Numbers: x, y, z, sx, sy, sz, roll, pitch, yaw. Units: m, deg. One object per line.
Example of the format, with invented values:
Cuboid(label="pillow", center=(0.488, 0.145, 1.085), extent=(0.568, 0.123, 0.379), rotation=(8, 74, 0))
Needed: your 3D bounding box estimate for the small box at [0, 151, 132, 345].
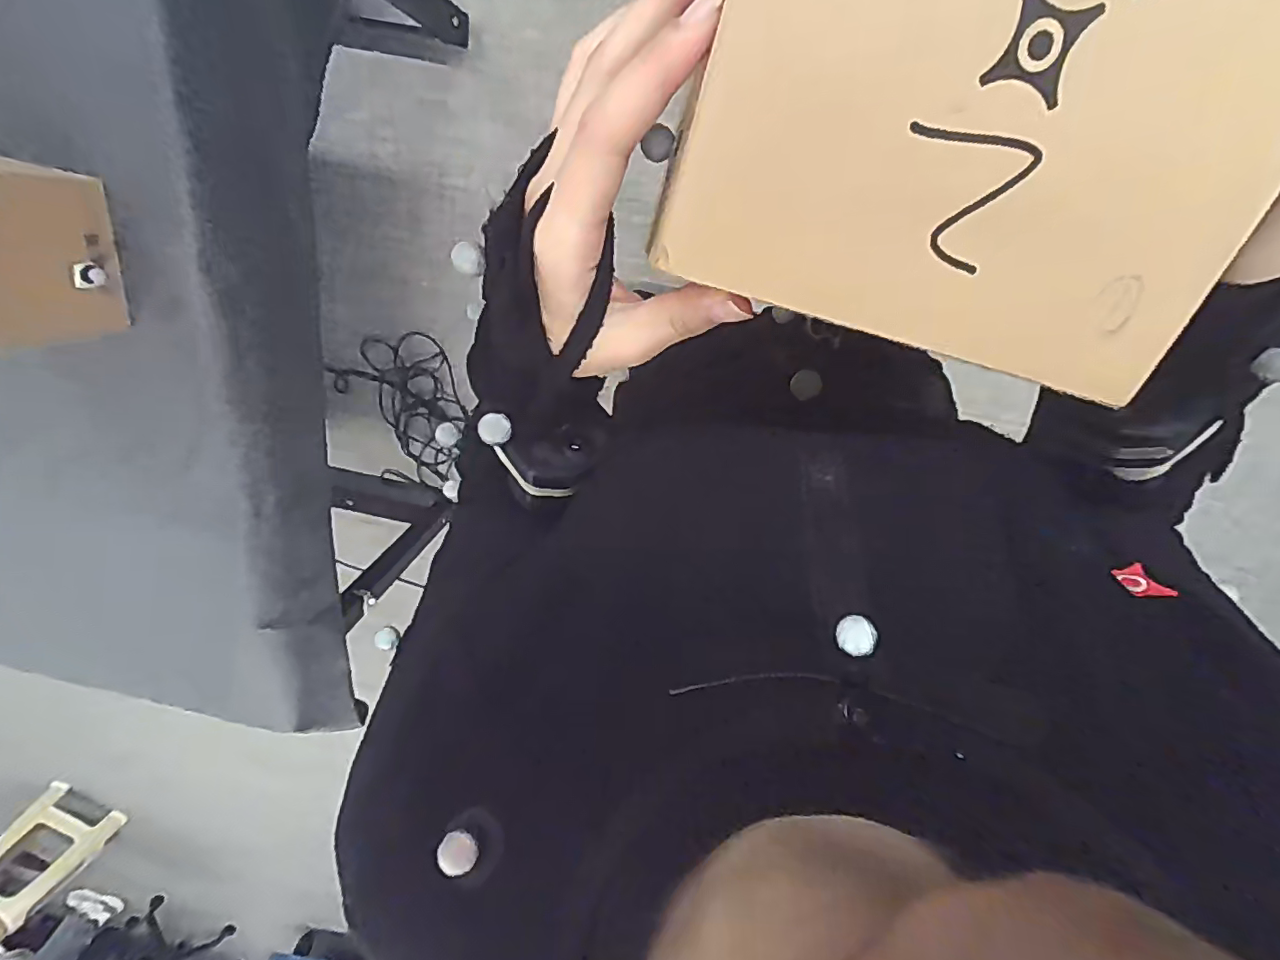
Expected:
Cuboid(label="small box", center=(-0.681, -0.238, 0.540), extent=(0.179, 0.176, 0.168), rotation=(13, 117, 2))
